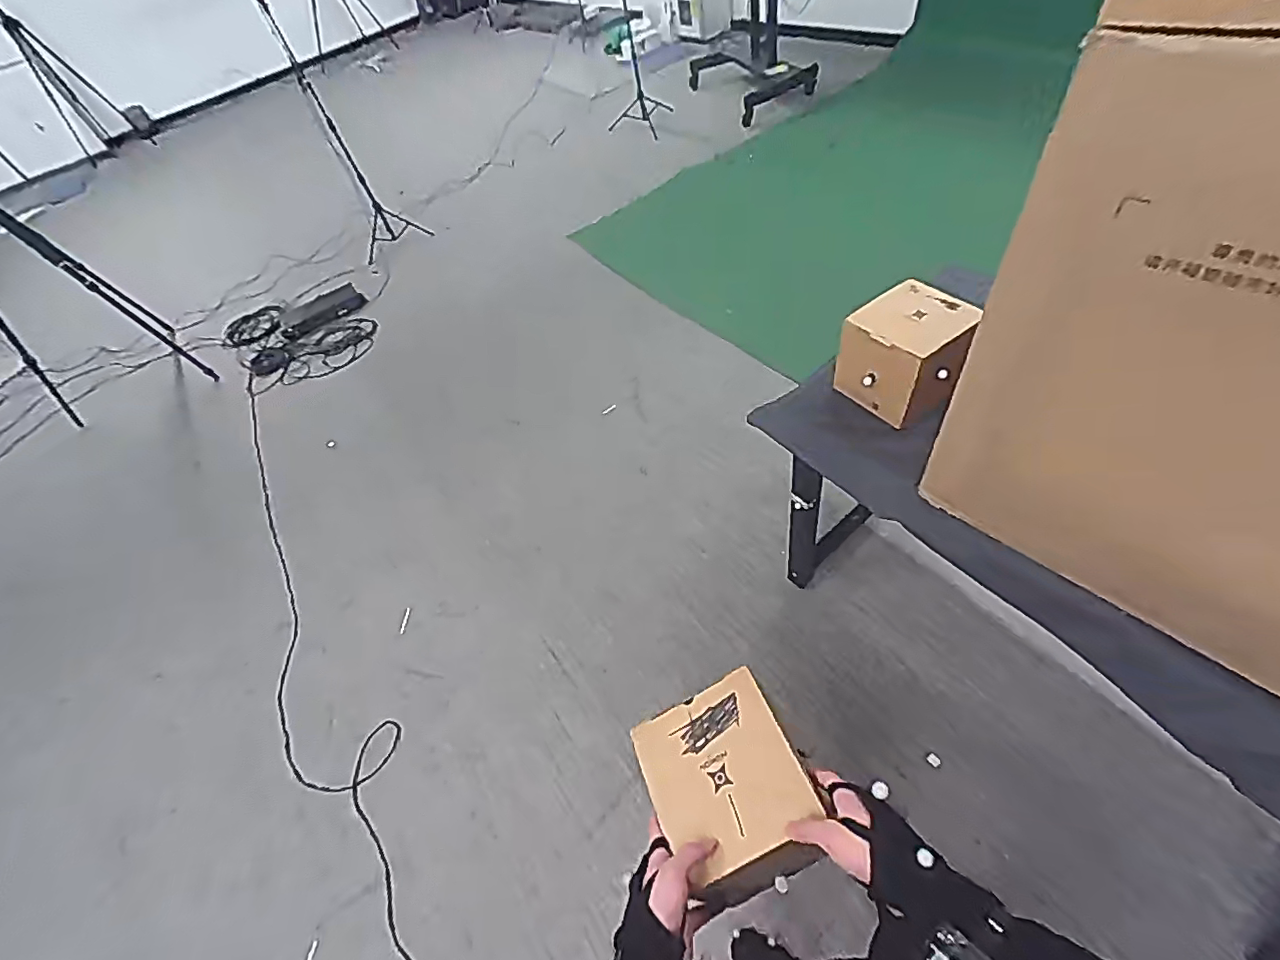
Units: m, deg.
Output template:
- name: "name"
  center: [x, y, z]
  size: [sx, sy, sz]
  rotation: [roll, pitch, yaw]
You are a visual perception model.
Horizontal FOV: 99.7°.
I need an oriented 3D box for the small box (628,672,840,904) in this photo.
- name: "small box"
  center: [0.112, 0.372, 0.652]
  size: [0.168, 0.176, 0.179]
  rotation: [-32, 43, 4]
